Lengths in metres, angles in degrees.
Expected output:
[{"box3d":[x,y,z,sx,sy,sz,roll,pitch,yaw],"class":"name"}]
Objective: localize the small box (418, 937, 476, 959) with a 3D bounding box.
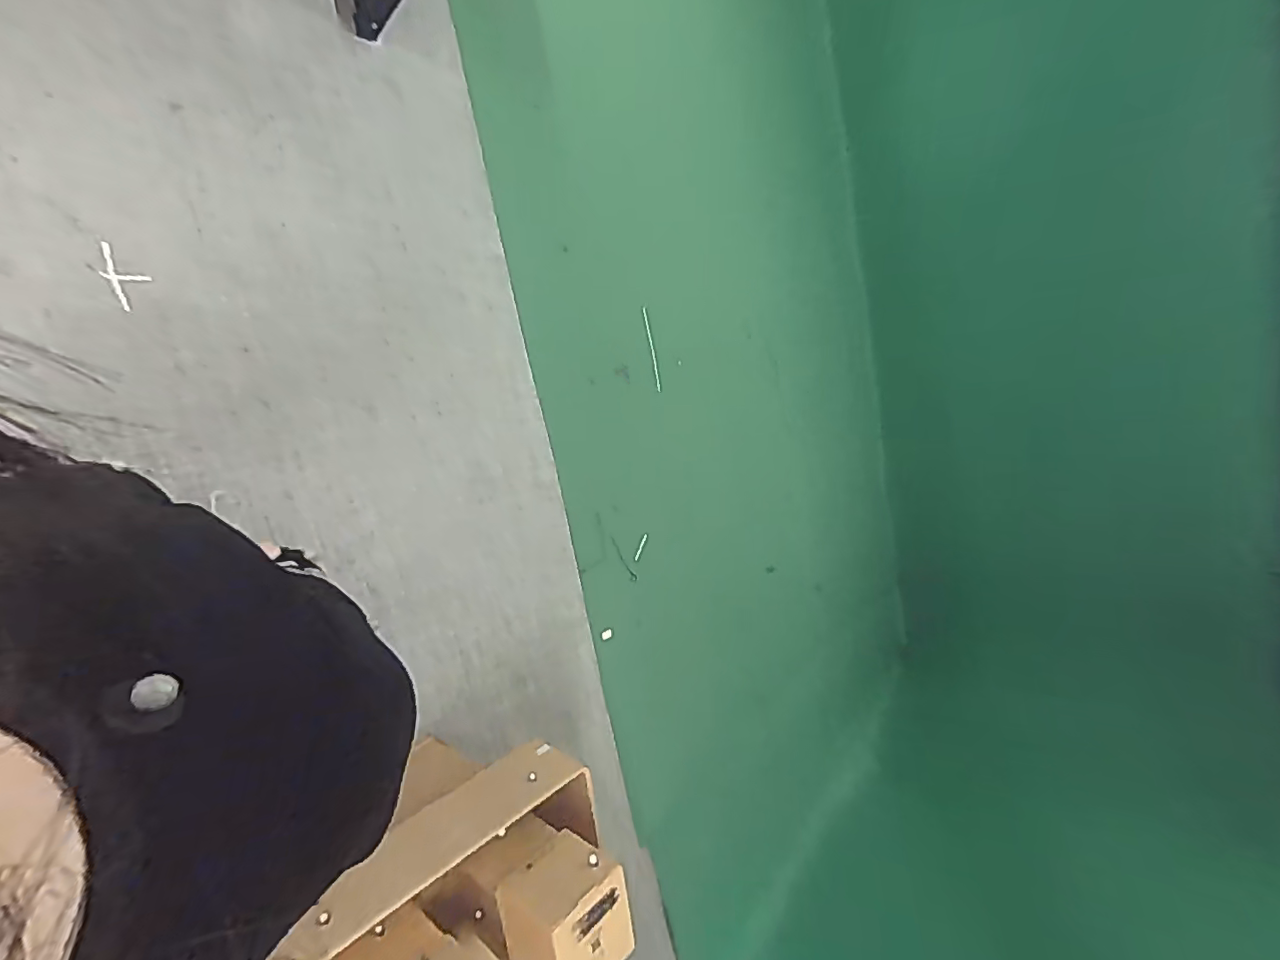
[{"box3d":[-0.304,0.865,0.821,0.168,0.176,0.179,-11,94,-46],"class":"small box"}]
